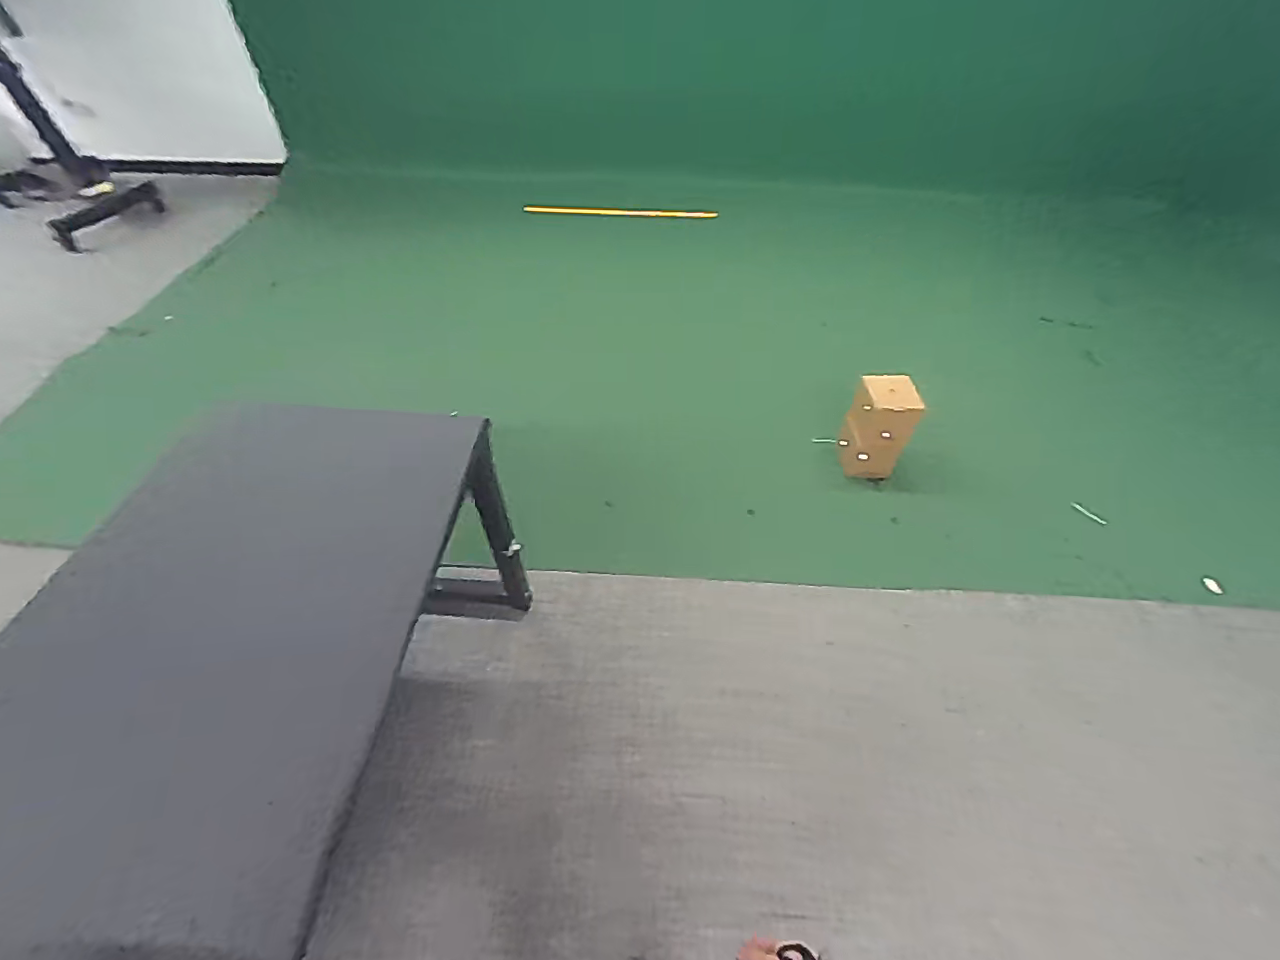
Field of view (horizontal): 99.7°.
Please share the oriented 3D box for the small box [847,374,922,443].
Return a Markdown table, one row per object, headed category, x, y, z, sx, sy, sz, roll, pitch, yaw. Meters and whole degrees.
| category | x | y | z | sx | sy | sz | roll | pitch | yaw |
| --- | --- | --- | --- | --- | --- | --- | --- | --- | --- |
| small box | 0.839 | -0.249 | 1.878 | 0.168 | 0.176 | 0.179 | 0 | 49 | -2 |
